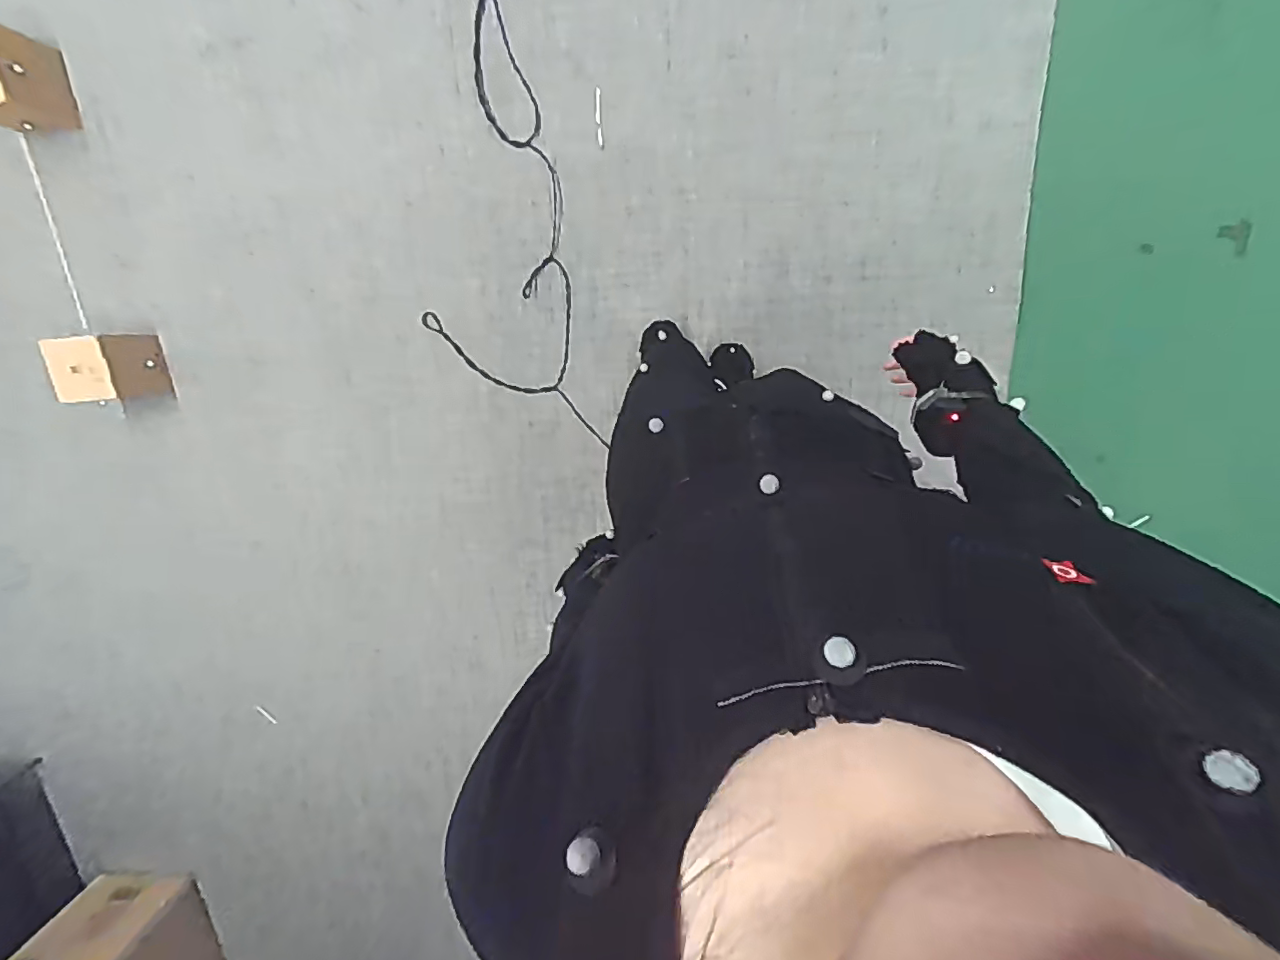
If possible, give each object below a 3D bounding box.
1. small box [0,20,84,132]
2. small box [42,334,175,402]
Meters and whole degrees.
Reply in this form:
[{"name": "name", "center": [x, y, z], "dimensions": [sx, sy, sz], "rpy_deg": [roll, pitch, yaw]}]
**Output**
[{"name": "small box", "center": [-1.513, -0.966, 1.292], "dimensions": [0.168, 0.176, 0.179], "rpy_deg": [-3, 107, 6]}, {"name": "small box", "center": [-1.443, -0.309, 1.479], "dimensions": [0.179, 0.176, 0.168], "rpy_deg": [-3, 106, 6]}]
